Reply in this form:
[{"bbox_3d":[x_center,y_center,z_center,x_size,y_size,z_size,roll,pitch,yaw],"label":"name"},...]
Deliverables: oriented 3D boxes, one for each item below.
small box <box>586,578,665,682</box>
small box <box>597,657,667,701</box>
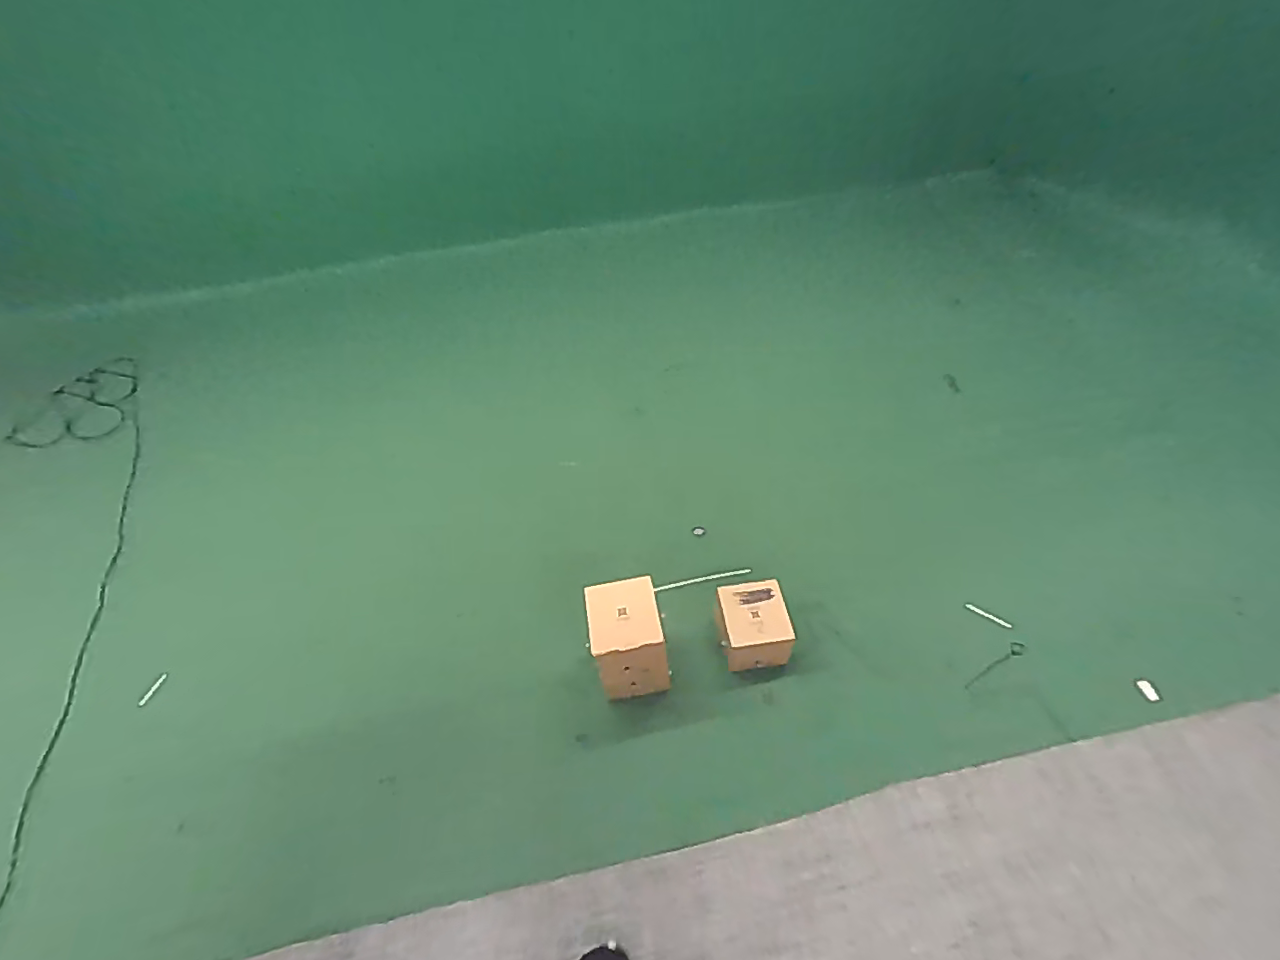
[{"bbox_3d":[-0.035,0.367,1.318,0.168,0.176,0.179,-10,50,-3],"label":"small box"},{"bbox_3d":[-0.025,0.470,1.444,0.179,0.176,0.168,-11,49,-3],"label":"small box"}]
